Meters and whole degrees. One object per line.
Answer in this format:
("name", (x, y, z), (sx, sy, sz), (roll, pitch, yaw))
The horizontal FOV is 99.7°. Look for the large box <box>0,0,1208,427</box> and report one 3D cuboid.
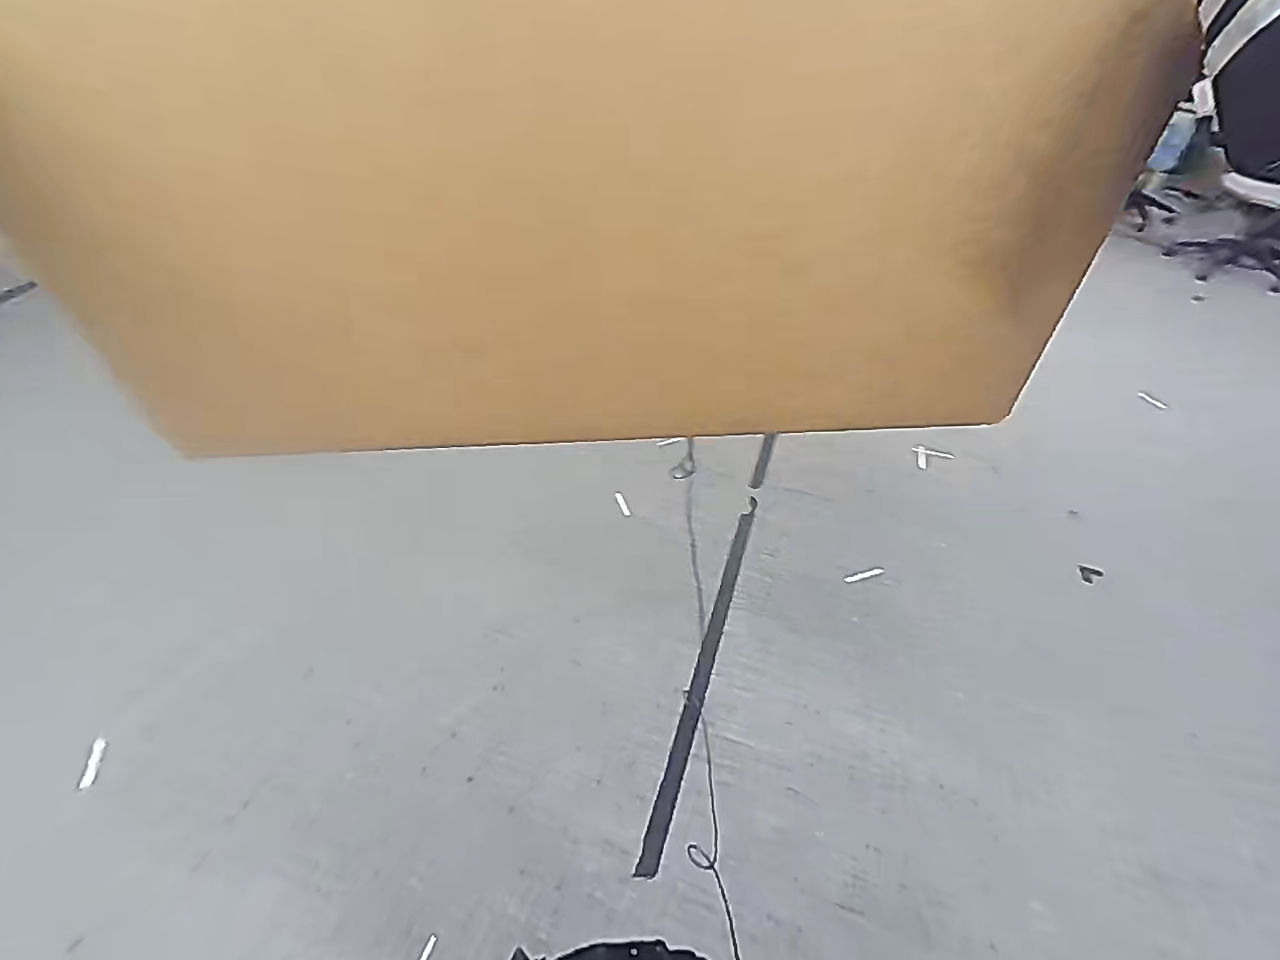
("large box", (-0.022, -0.241, 0.278), (0.408, 0.320, 0.320), (-1, 43, -1))
